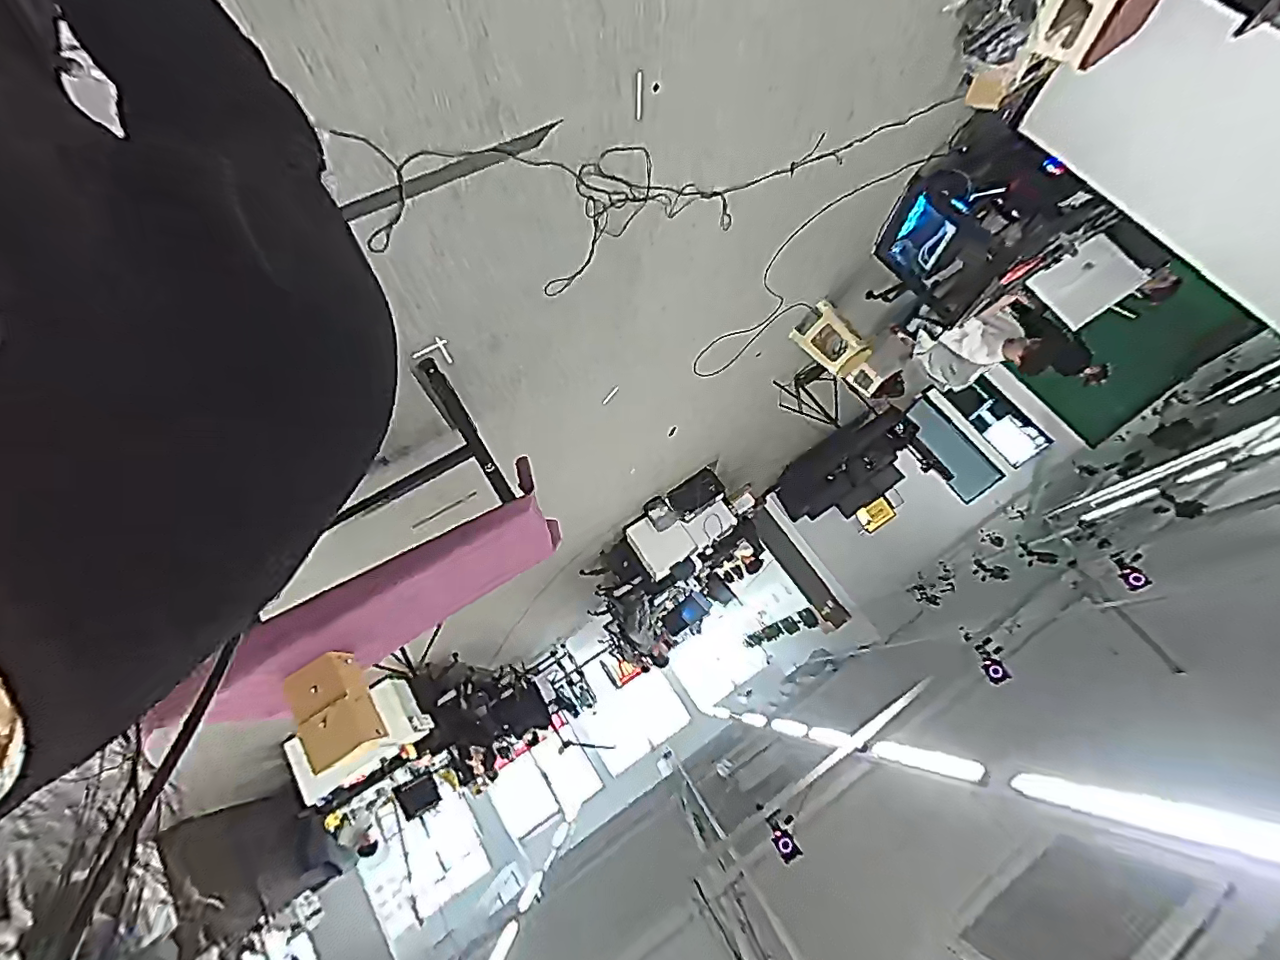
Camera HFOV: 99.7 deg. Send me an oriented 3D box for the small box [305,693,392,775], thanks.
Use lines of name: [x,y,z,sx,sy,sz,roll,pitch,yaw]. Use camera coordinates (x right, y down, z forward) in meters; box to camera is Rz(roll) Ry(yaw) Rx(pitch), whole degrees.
small box: [-0.959,0.823,1.769,0.179,0.176,0.168,-33,163,-8]
